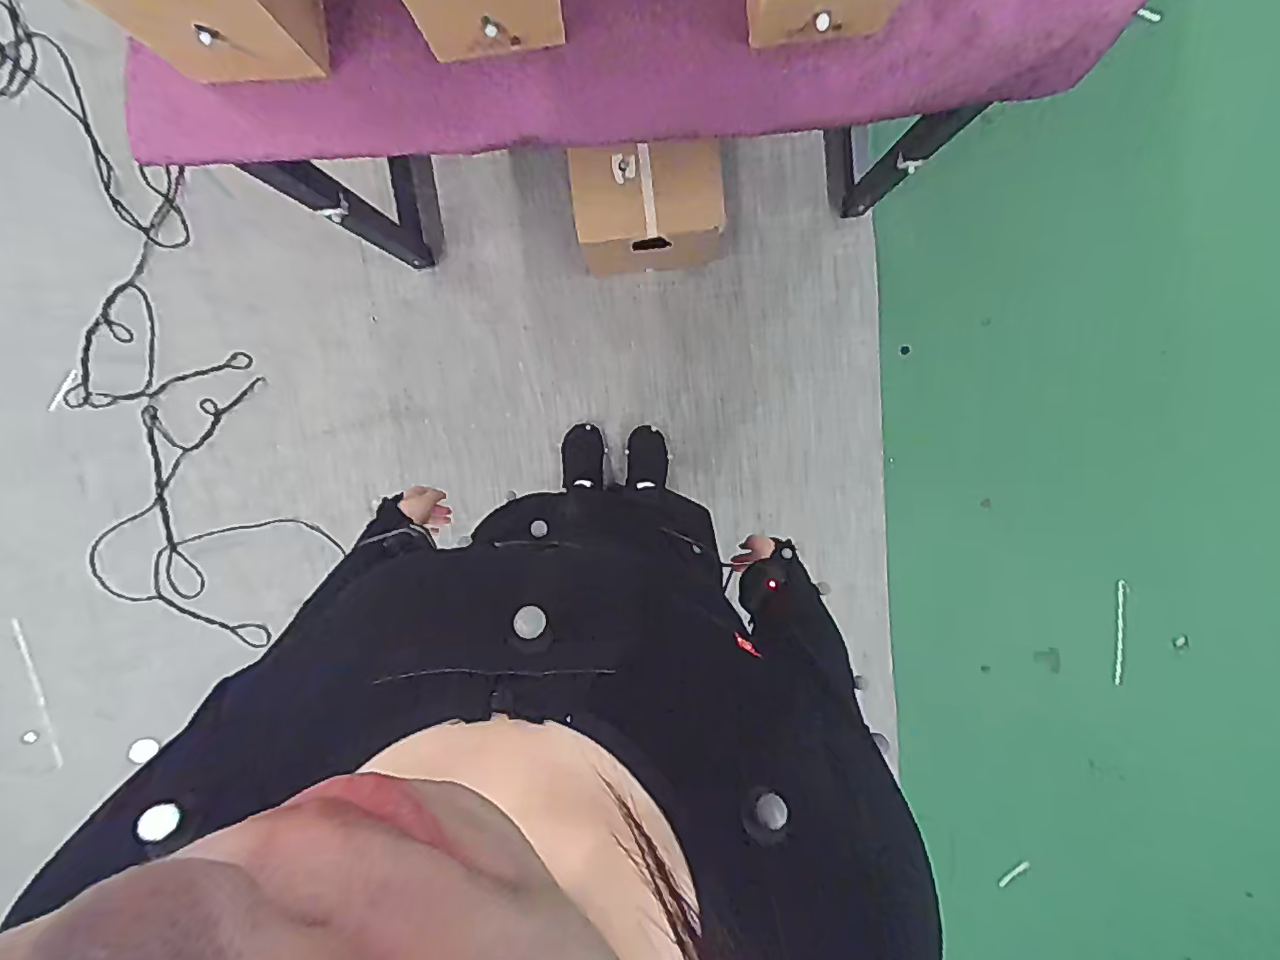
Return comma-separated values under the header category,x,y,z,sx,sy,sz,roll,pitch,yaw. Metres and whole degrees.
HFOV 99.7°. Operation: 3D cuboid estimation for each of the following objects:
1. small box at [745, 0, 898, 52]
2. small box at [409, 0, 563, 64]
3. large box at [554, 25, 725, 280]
category,x,y,z,sx,sy,sz,roll,pitch,yaw
small box,0.209,-0.623,0.593,0.168,0.176,0.179,-6,98,1
small box,-0.186,-0.610,0.592,0.168,0.176,0.179,-8,97,1
large box,0.001,-0.716,1.249,0.320,0.320,0.408,-6,99,1
